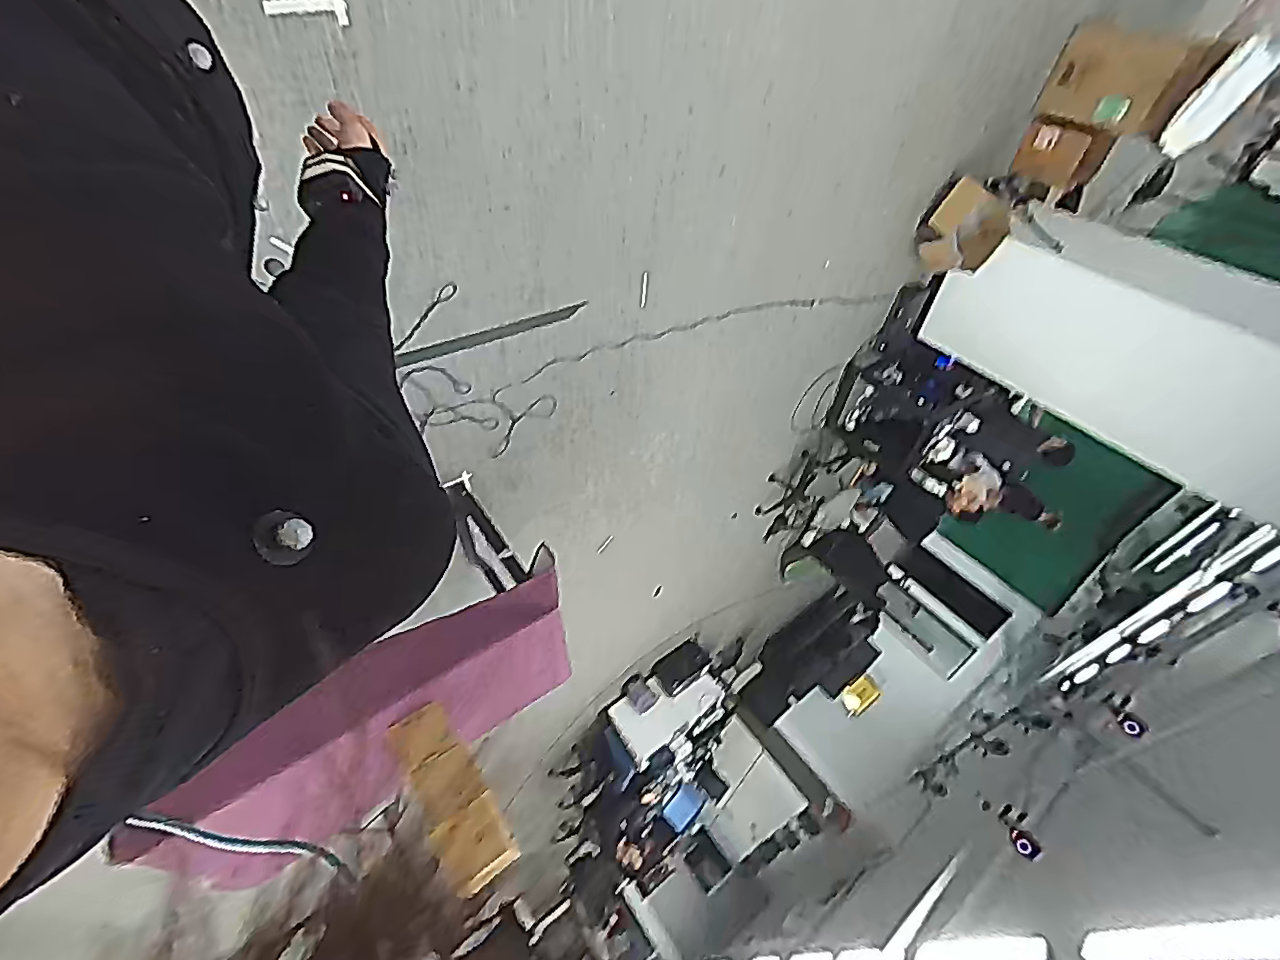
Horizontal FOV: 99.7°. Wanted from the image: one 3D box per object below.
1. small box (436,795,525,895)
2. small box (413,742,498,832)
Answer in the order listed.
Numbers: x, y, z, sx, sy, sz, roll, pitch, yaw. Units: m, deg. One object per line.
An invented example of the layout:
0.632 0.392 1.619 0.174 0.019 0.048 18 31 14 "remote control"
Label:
-0.455 1.035 1.541 0.168 0.176 0.179 -32 148 -22 "small box"
-0.549 0.923 1.614 0.179 0.176 0.168 -26 144 -28 "small box"
